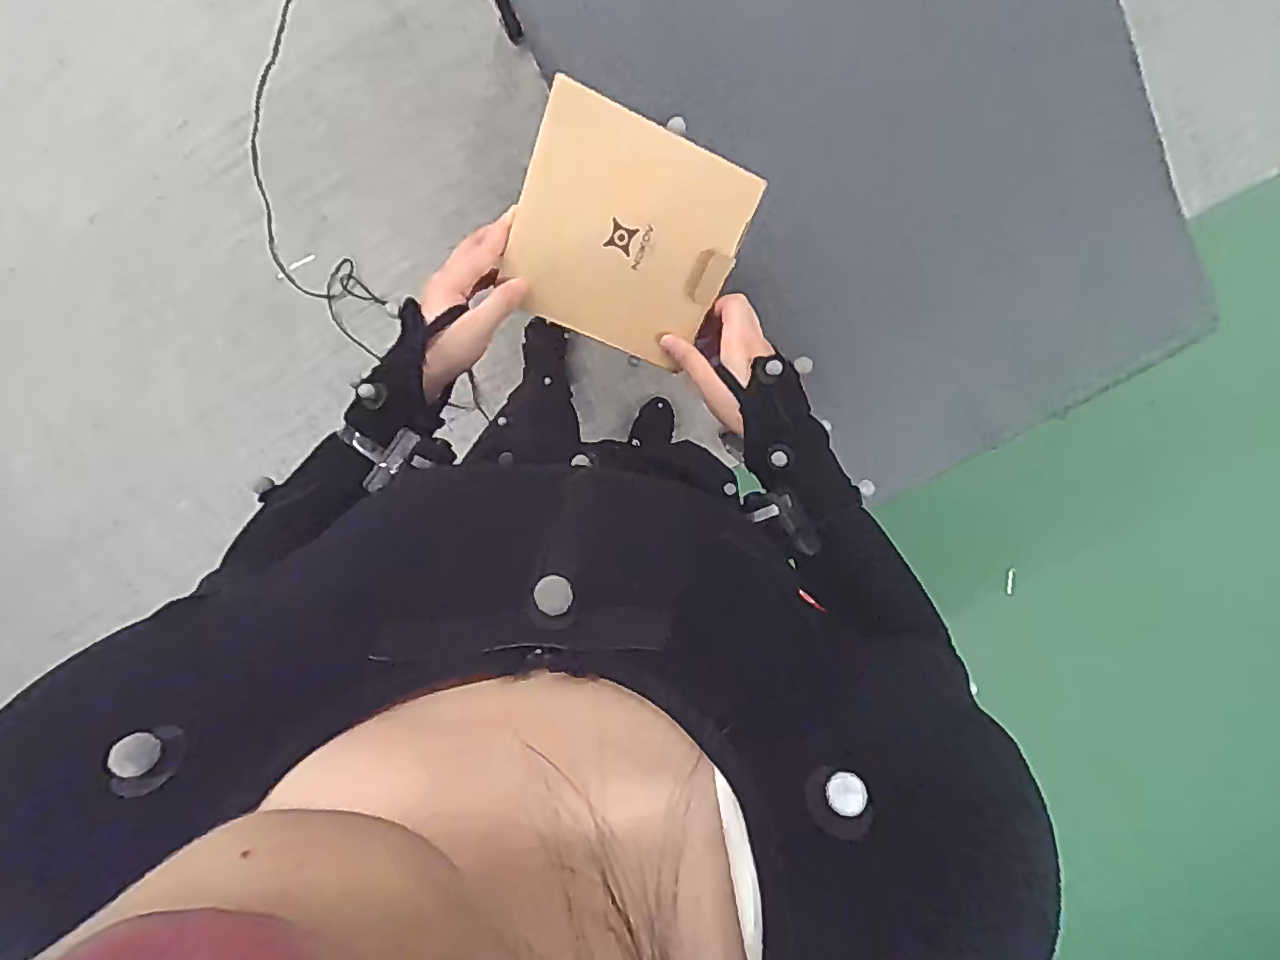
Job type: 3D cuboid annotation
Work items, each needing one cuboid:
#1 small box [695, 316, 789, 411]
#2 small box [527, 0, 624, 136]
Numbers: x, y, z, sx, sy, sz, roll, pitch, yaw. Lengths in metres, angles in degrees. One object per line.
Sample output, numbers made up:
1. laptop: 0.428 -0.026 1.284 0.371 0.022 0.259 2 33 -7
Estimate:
1. small box: 0.246 -0.287 1.346 0.168 0.176 0.179 -23 102 5
2. small box: -0.137 -0.922 1.218 0.168 0.176 0.179 -16 100 3
